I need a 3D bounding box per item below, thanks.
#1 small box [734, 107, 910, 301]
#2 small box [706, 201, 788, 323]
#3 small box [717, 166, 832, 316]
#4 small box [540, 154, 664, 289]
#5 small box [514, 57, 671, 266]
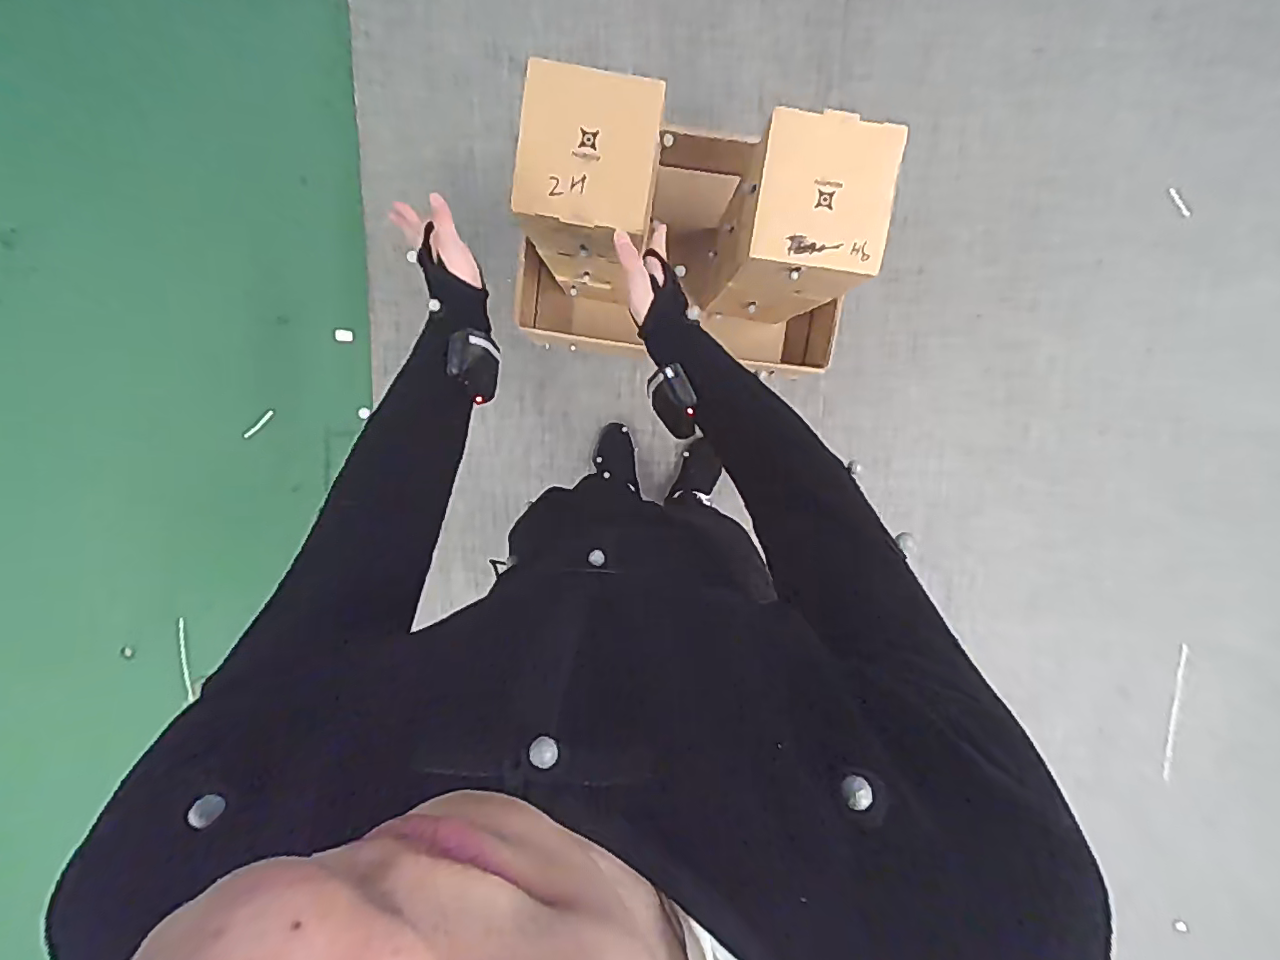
[{"bbox_3d":[0.231,-0.358,0.735,0.168,0.176,0.179,9,99,-1],"label":"small box"},{"bbox_3d":[0.230,-0.413,1.057,0.168,0.176,0.179,9,98,-2],"label":"small box"},{"bbox_3d":[0.230,-0.383,0.897,0.168,0.176,0.179,9,99,-1],"label":"small box"},{"bbox_3d":[-0.060,-0.431,0.890,0.168,0.176,0.179,9,99,-2],"label":"small box"},{"bbox_3d":[-0.059,-0.409,0.726,0.168,0.176,0.179,10,99,-1],"label":"small box"}]
